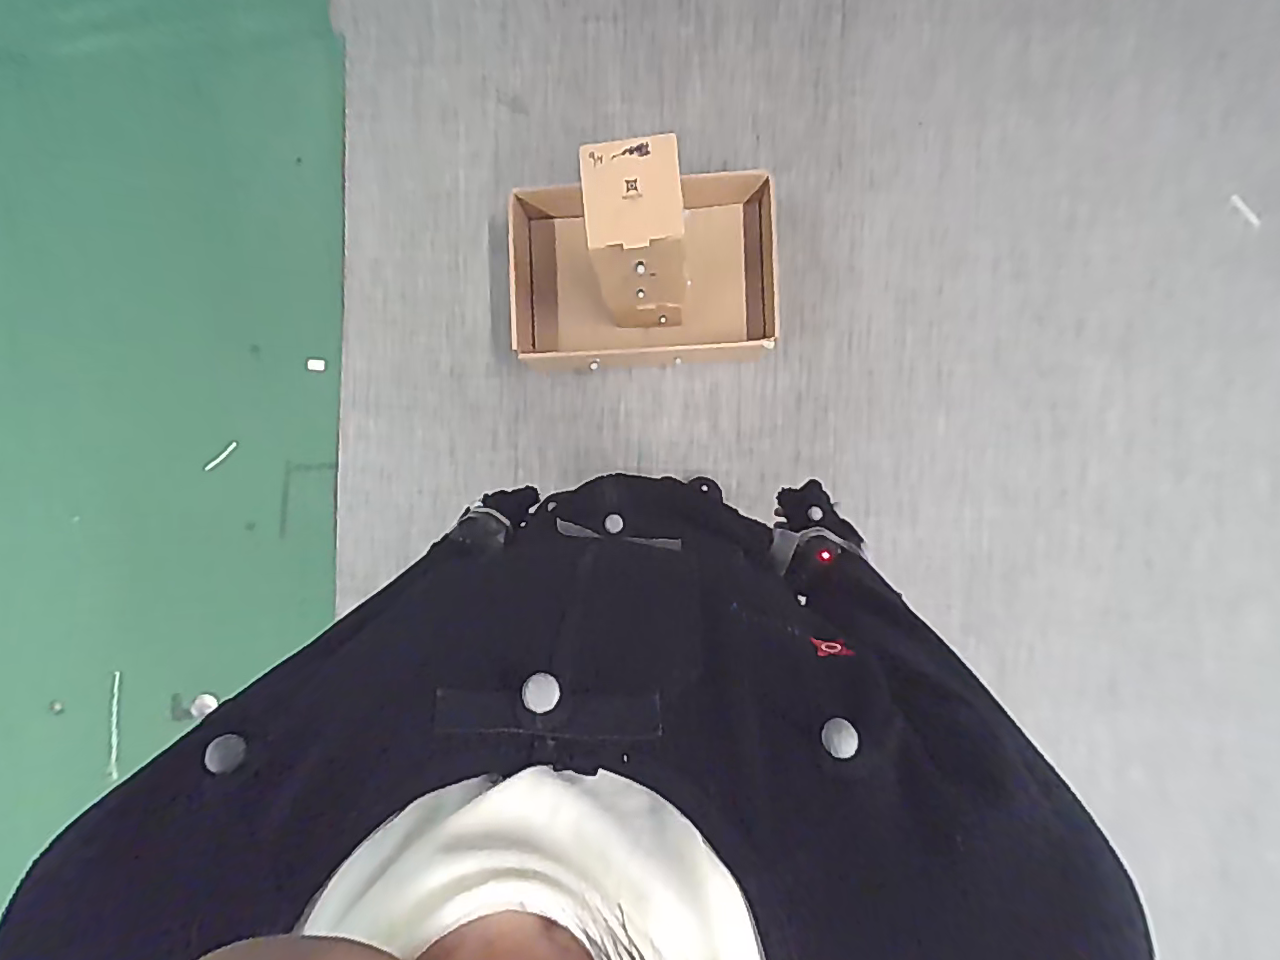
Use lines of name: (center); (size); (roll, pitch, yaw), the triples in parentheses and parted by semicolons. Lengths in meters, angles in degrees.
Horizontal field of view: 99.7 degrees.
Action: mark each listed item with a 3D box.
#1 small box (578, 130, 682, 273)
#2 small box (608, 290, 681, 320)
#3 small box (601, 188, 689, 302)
small box: (-0.011, -0.488, 0.979); (0.168, 0.176, 0.179); (-5, 91, 5)
small box: (0.015, -0.493, 1.305); (0.168, 0.176, 0.179); (0, 89, 4)
small box: (0.006, -0.488, 1.142); (0.179, 0.176, 0.168); (-6, 91, 3)
